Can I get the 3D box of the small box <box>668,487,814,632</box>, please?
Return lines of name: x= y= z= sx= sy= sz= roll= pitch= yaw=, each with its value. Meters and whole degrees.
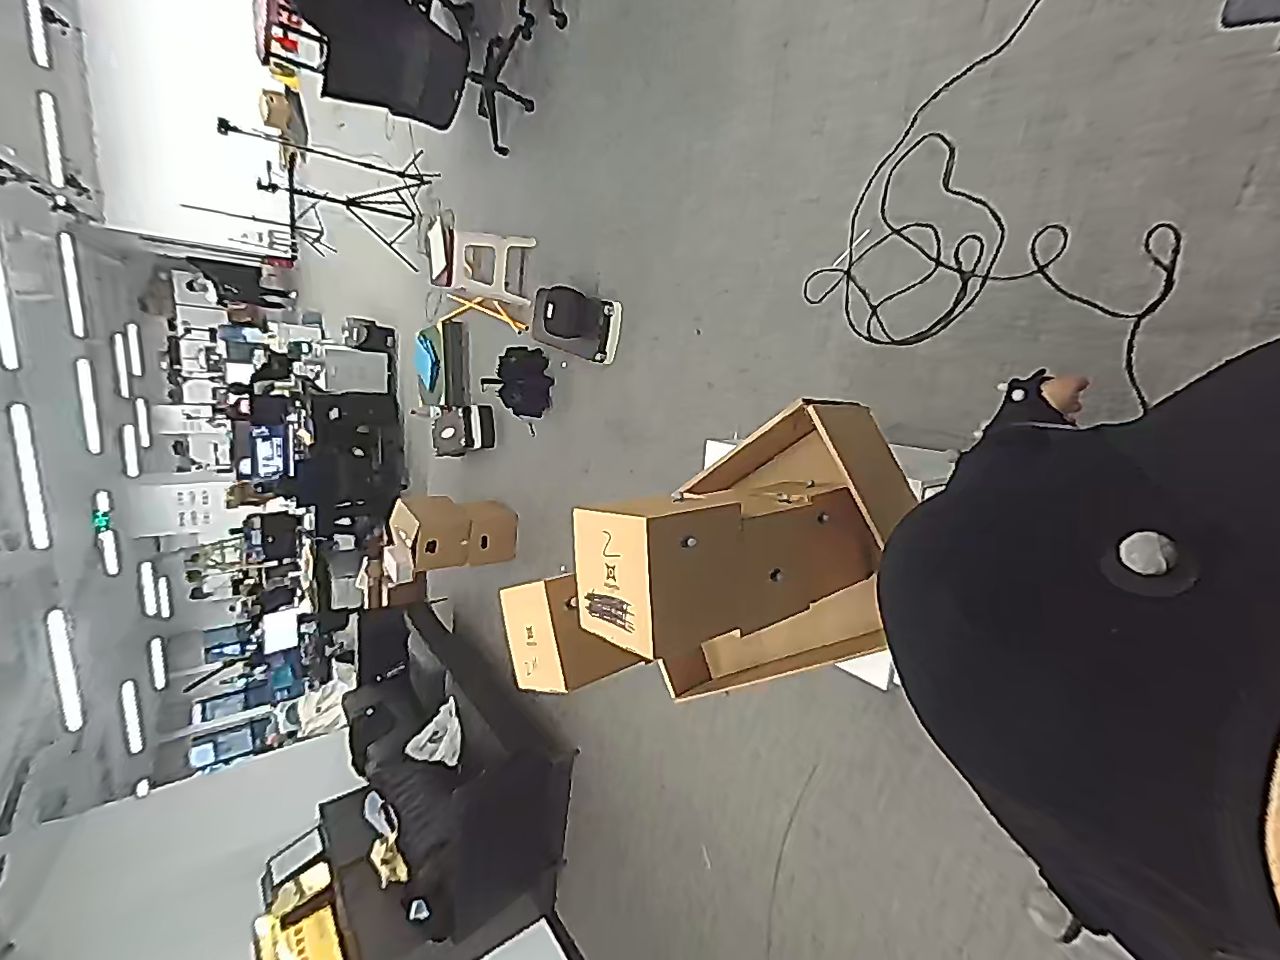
small box: x=0.161 y=0.112 z=0.862 sx=0.168 sy=0.176 sz=0.179 roll=12 pitch=107 yaw=51

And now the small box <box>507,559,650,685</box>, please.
small box: x=-0.108 y=0.242 z=0.949 sx=0.168 sy=0.176 sz=0.179 roll=-22 pitch=79 yaw=50

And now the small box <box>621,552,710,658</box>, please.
small box: x=0.010 y=0.239 z=1.065 sx=0.179 sy=0.176 sz=0.168 roll=-17 pitch=84 yaw=49
